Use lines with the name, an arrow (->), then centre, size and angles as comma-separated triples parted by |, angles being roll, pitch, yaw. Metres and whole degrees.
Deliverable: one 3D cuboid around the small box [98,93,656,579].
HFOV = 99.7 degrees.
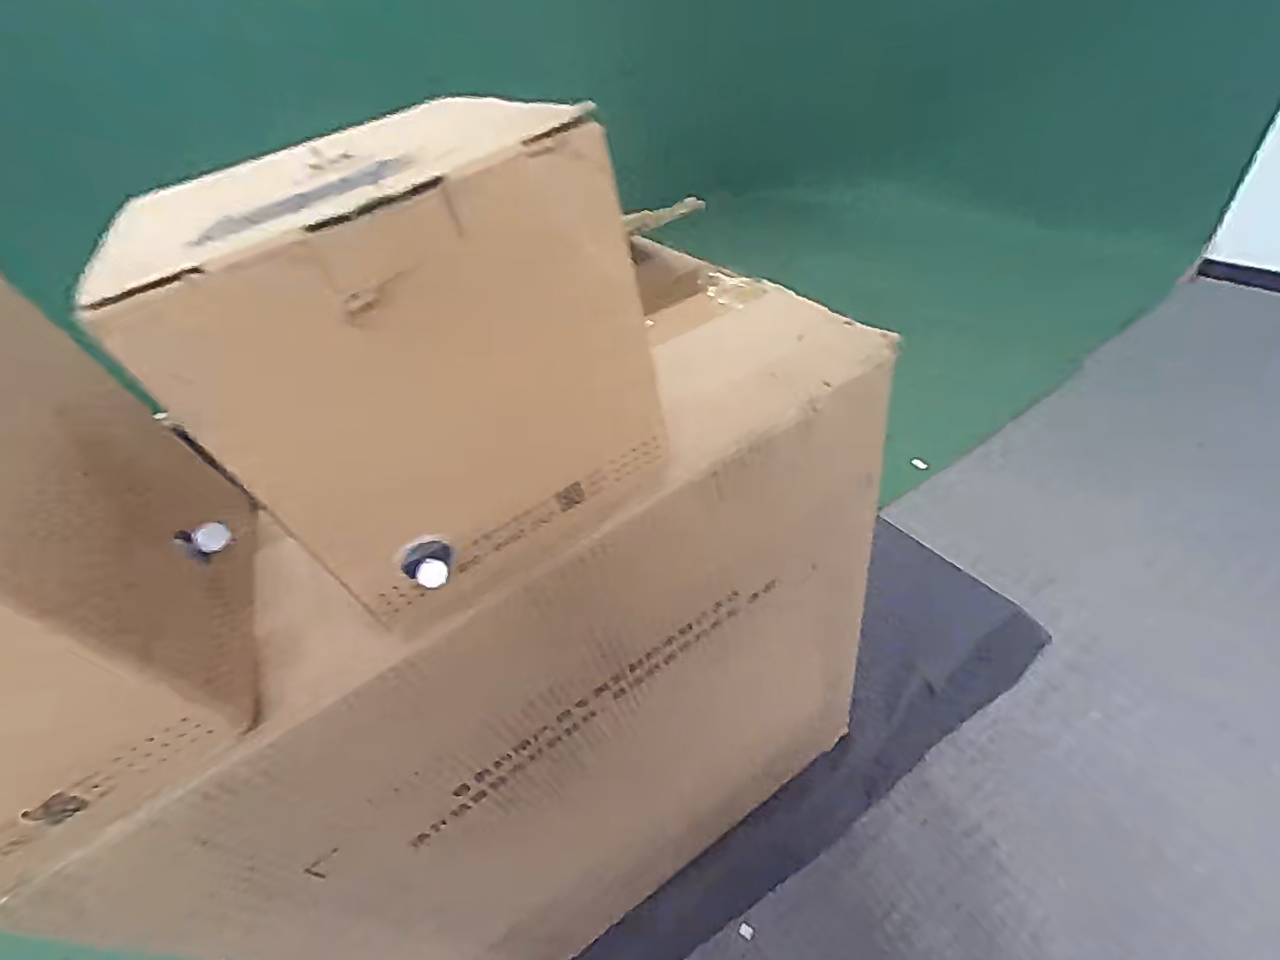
small box -> -0.110, -0.073, 0.281 | 0.168, 0.176, 0.179 | -30, 45, -16
